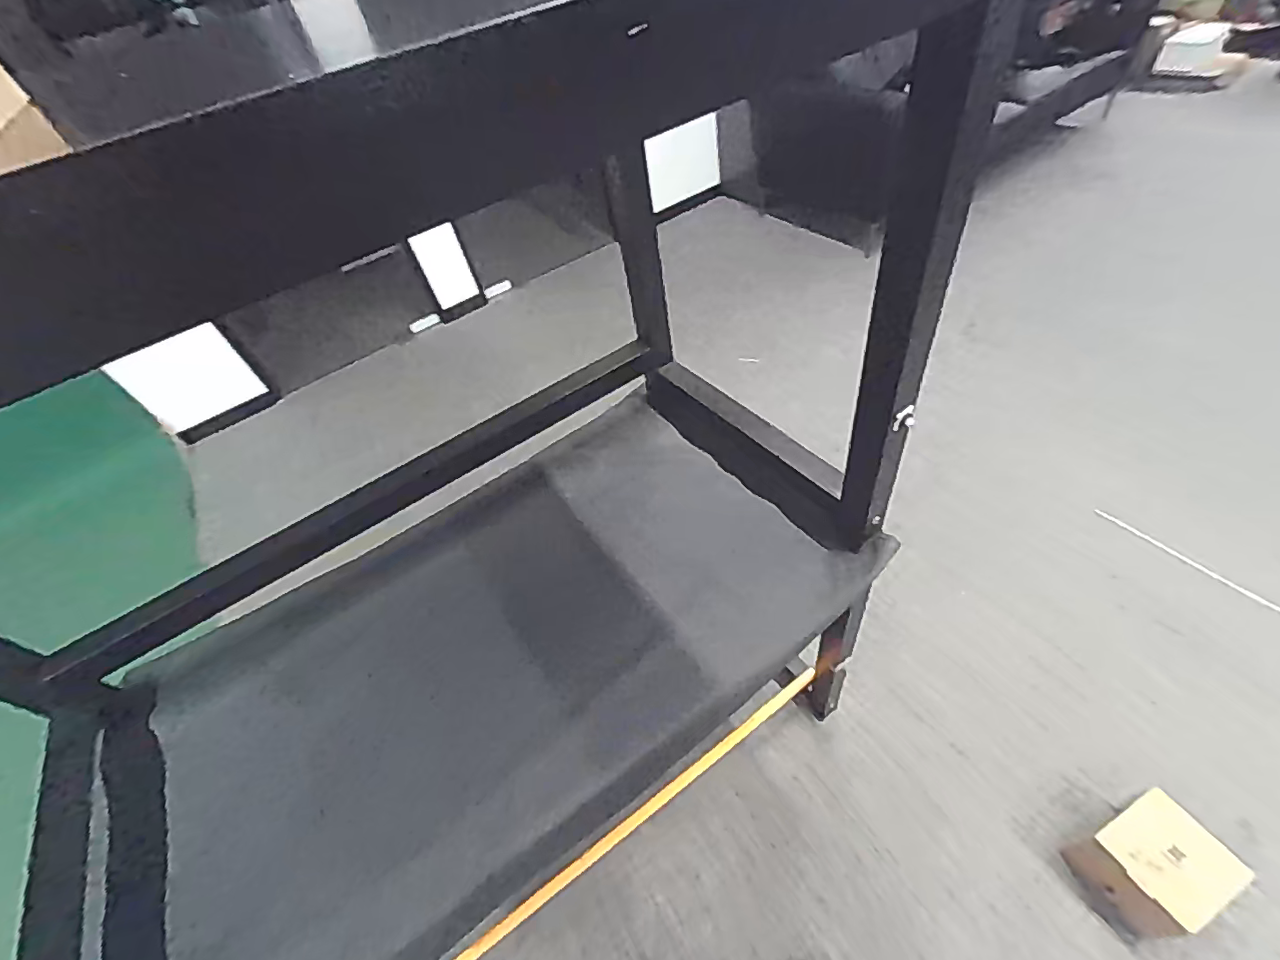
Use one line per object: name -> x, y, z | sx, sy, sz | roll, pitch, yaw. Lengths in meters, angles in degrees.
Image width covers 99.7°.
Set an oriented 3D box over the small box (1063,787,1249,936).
small box -> 0.972, 0.733, 1.040 | 0.179, 0.176, 0.168 | -28, 48, -11
